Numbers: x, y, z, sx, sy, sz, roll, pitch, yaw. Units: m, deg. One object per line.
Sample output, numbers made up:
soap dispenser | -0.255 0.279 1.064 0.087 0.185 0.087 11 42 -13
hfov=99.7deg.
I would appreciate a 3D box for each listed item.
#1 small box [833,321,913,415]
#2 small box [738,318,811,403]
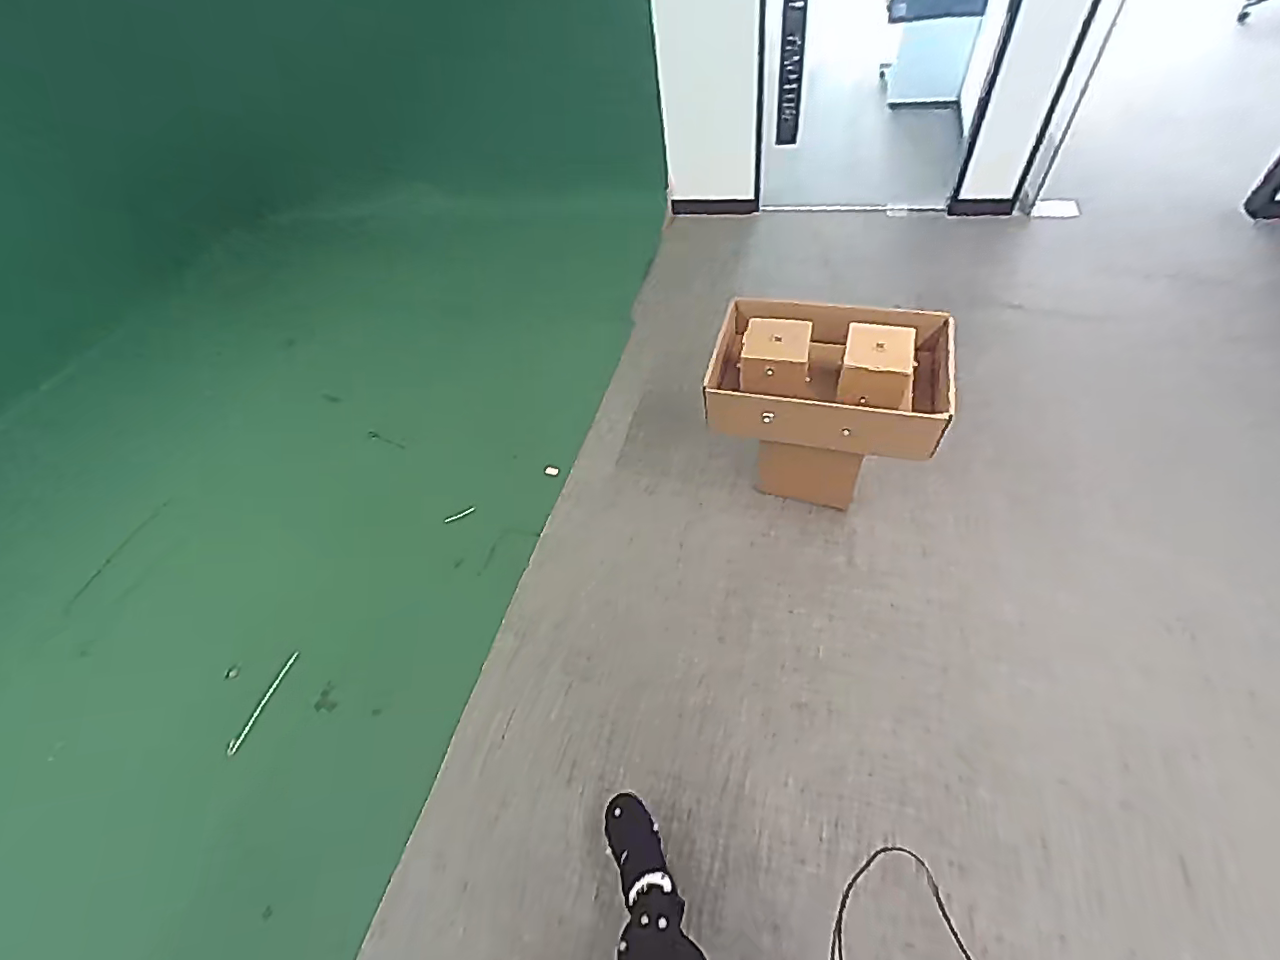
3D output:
small box | 0.632 -0.305 1.476 0.168 0.176 0.179 11 57 16
small box | 0.381 -0.340 1.546 0.179 0.176 0.168 10 57 15
